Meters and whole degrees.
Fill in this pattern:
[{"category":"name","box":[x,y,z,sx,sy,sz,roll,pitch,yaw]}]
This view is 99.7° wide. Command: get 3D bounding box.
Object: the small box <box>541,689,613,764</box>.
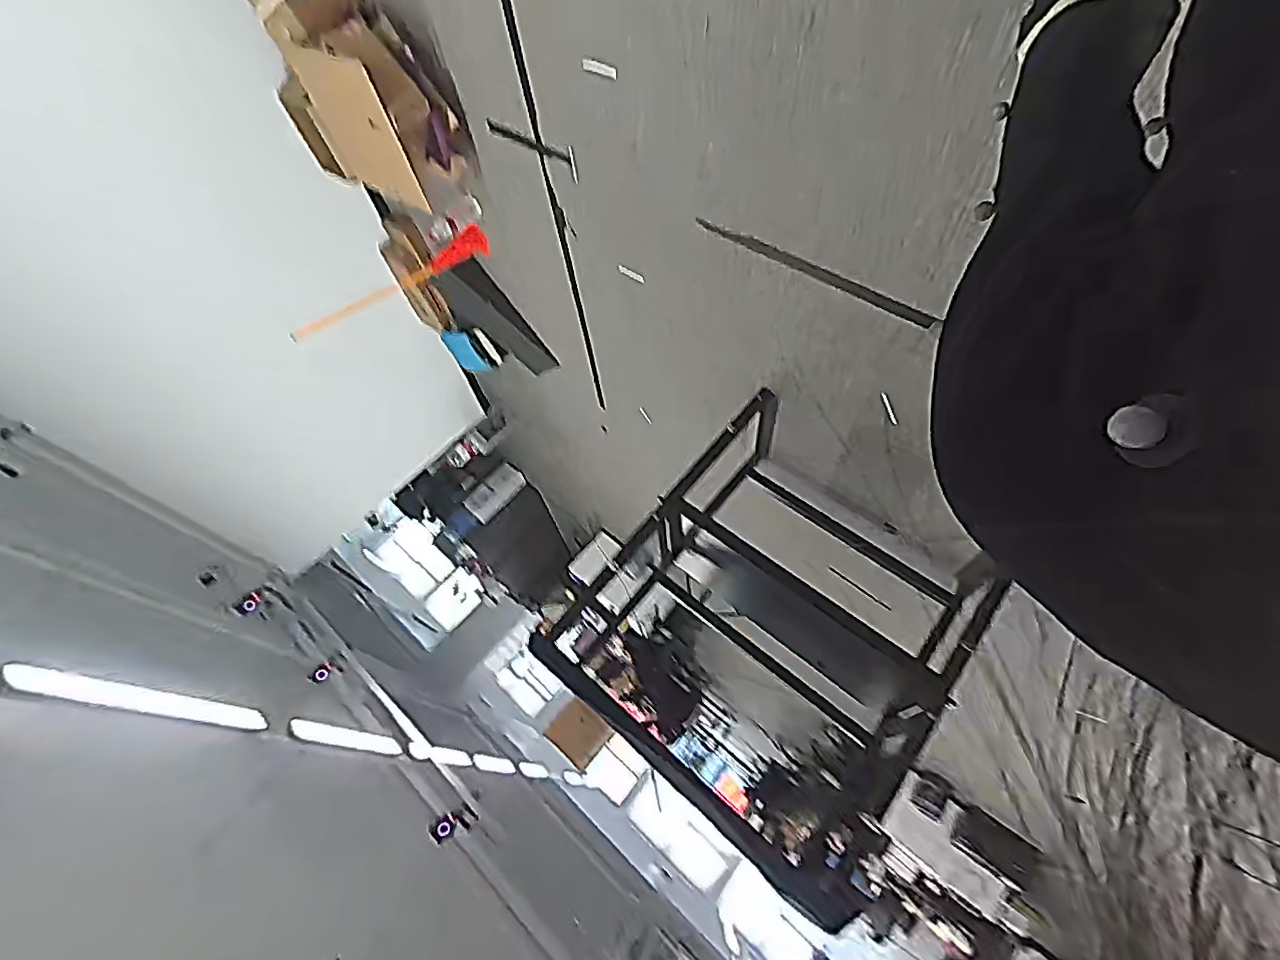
[{"category":"small box","box":[-0.210,0.851,1.867,0.168,0.176,0.179,34,159,21]}]
